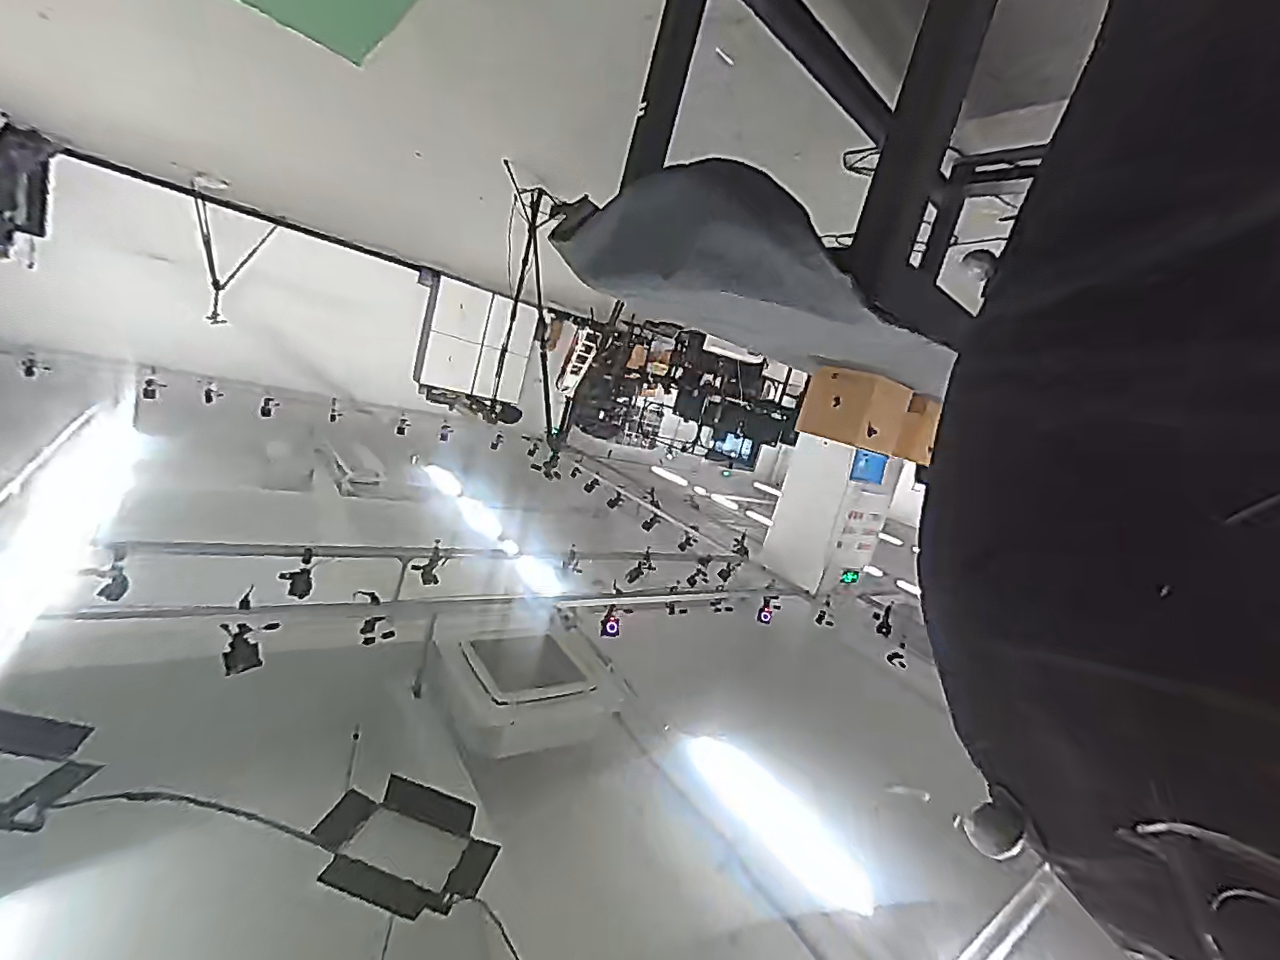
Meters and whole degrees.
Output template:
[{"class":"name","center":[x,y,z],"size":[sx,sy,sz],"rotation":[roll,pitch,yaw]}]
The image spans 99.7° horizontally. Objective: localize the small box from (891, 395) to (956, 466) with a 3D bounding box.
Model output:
[{"class":"small box","center":[0.729,-0.146,1.482],"size":[0.179,0.176,0.168],"rotation":[7,-168,-38]}]

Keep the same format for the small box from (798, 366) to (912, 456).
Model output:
[{"class":"small box","center":[0.514,-0.169,1.294],"size":[0.179,0.176,0.168],"rotation":[7,-167,-38]}]
